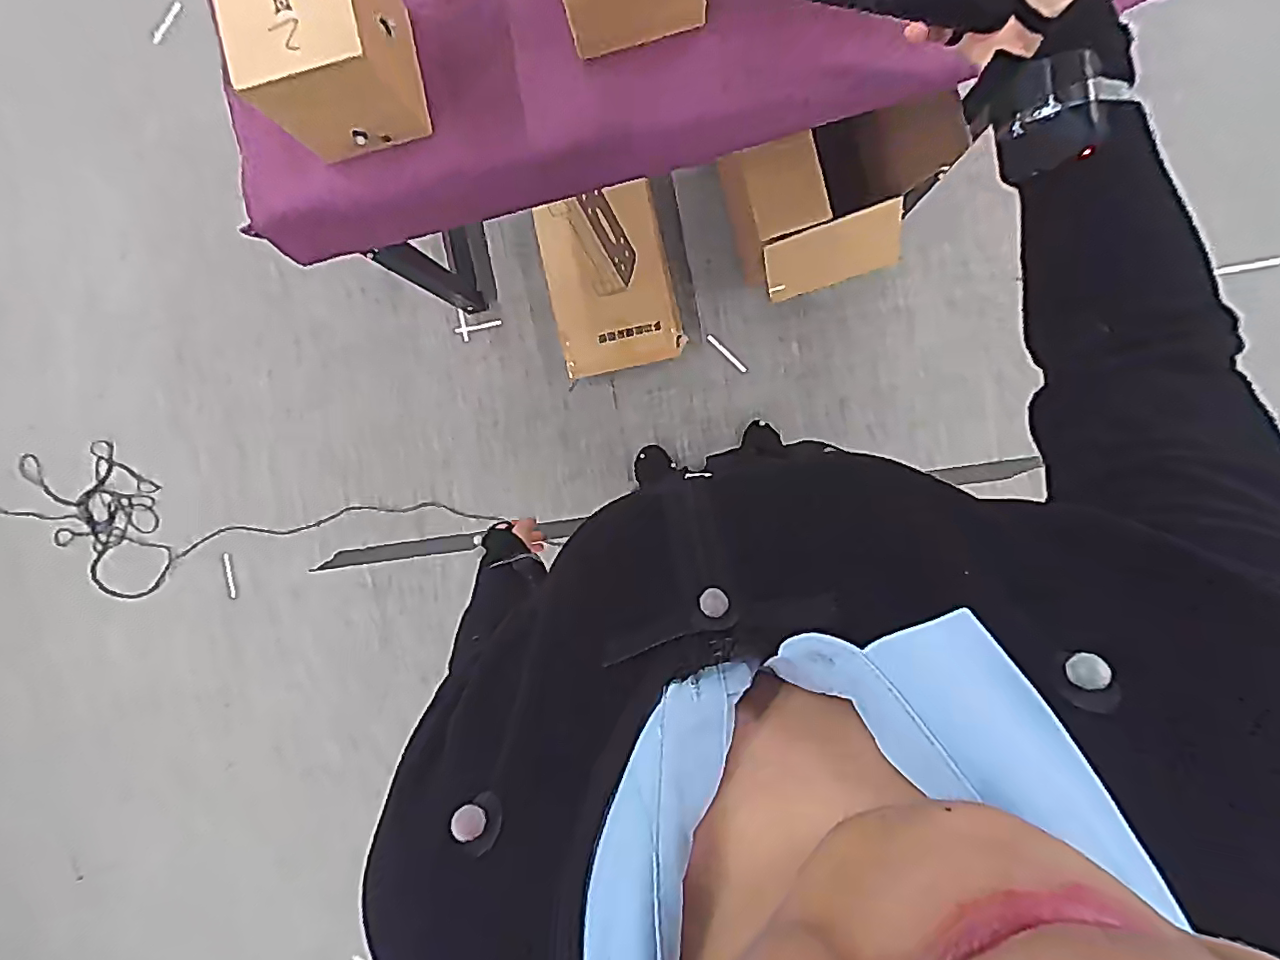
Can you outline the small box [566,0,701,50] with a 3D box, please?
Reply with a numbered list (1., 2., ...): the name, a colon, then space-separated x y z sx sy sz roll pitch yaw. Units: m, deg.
1. small box: -0.018 -0.664 0.636 0.179 0.176 0.168 -11 91 6
